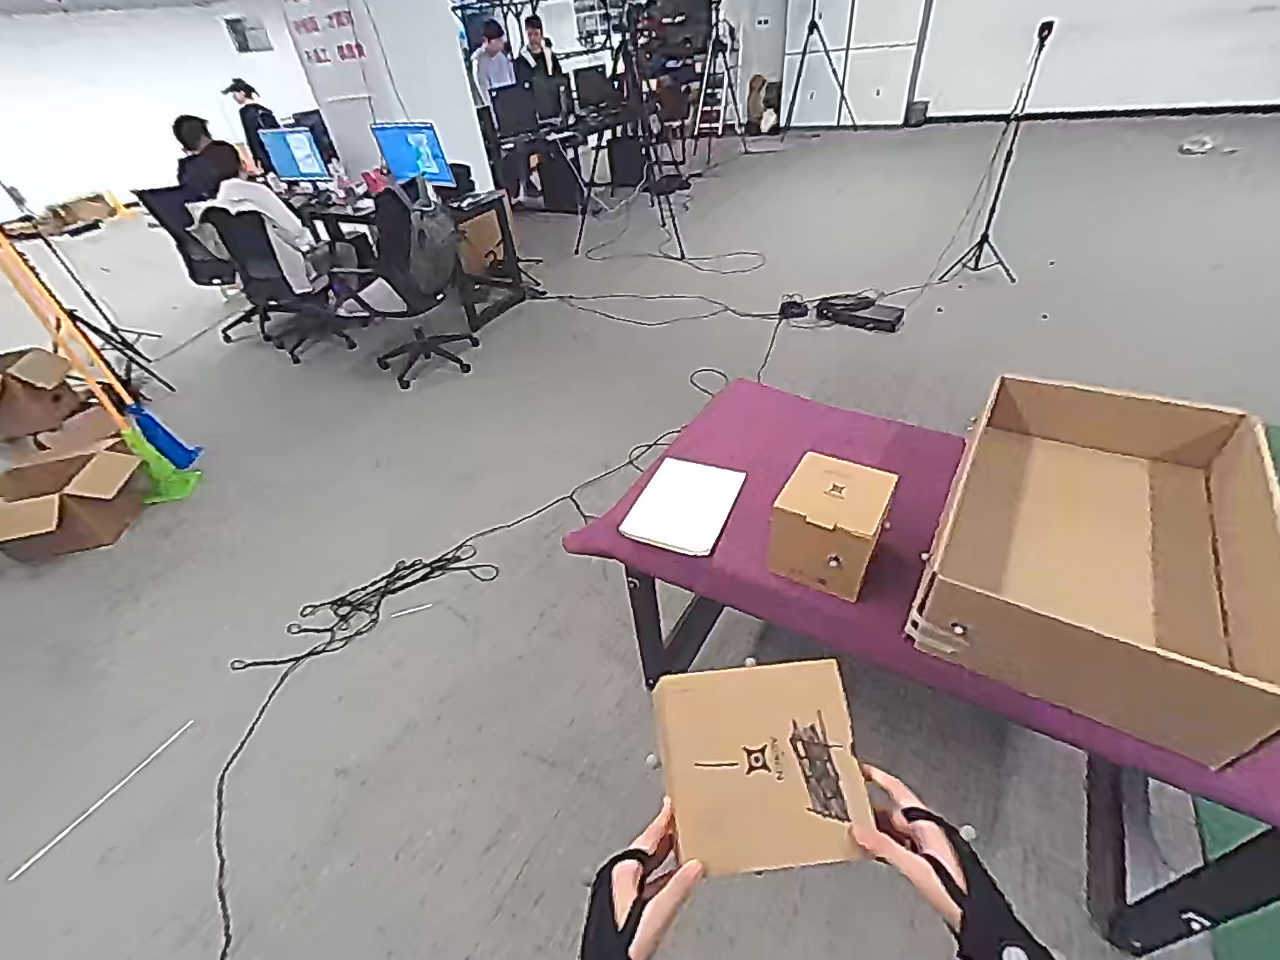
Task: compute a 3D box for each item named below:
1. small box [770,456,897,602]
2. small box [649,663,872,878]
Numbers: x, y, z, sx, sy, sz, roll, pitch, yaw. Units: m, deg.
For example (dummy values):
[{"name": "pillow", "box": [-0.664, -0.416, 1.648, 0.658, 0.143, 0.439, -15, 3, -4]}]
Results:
[{"name": "small box", "box": [0.344, 0.088, 0.981, 0.168, 0.176, 0.179, 20, 45, 28]}, {"name": "small box", "box": [0.106, 0.293, 0.566, 0.179, 0.176, 0.168, -4, 63, -4]}]
